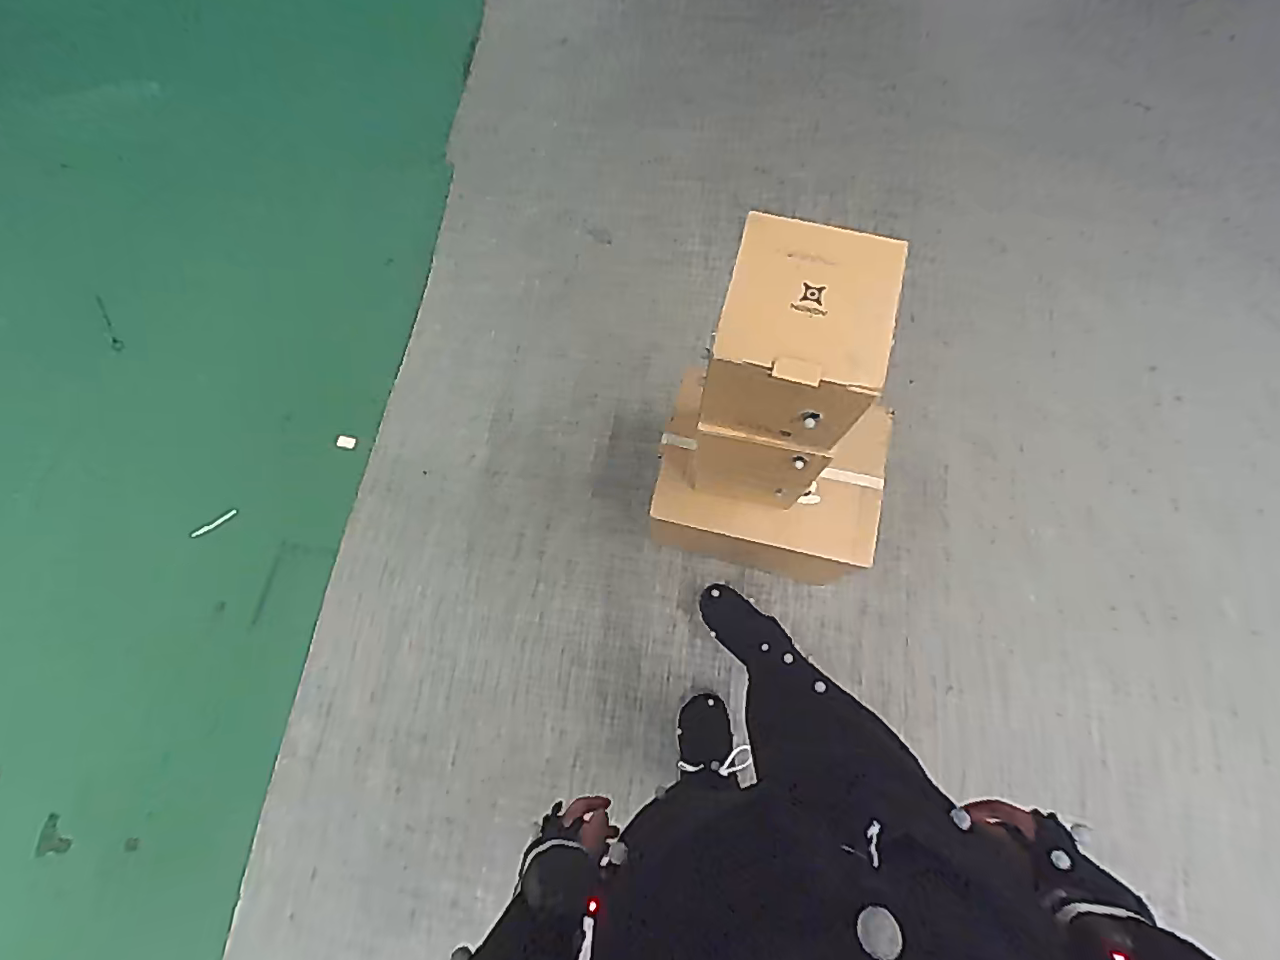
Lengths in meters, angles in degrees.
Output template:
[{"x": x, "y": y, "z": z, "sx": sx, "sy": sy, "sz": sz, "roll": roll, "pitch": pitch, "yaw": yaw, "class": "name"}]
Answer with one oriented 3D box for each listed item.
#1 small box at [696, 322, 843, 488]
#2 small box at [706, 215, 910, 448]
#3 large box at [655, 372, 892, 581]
[{"x": 0.179, "y": -0.098, "z": 0.759, "sx": 0.179, "sy": 0.176, "sz": 0.168, "roll": 11, "pitch": 75, "yaw": 6, "class": "small box"}, {"x": 0.174, "y": -0.153, "z": 0.606, "sx": 0.168, "sy": 0.176, "sz": 0.179, "roll": 14, "pitch": 74, "yaw": 5, "class": "small box"}, {"x": 0.257, "y": 0.009, "z": 1.148, "sx": 0.408, "sy": 0.320, "sz": 0.320, "roll": 13, "pitch": 76, "yaw": 6, "class": "large box"}]
